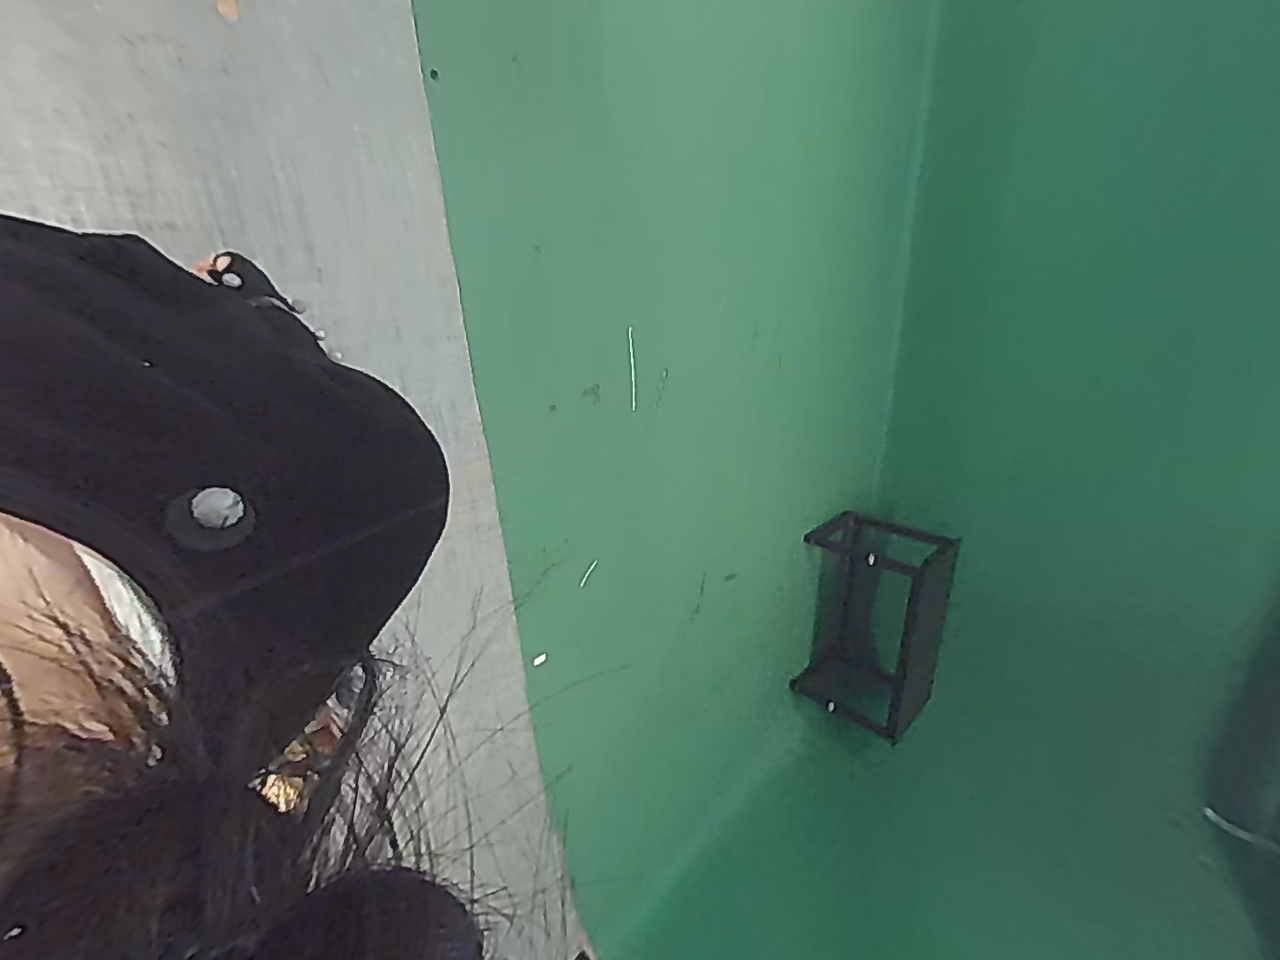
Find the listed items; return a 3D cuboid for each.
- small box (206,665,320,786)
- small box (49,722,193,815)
[{"bbox_3d":[-0.925,0.590,1.327,0.179,0.176,0.168,-26,119,-34],"label":"small box"},{"bbox_3d":[-1.117,0.667,1.164,0.179,0.176,0.168,-31,123,-34],"label":"small box"}]
